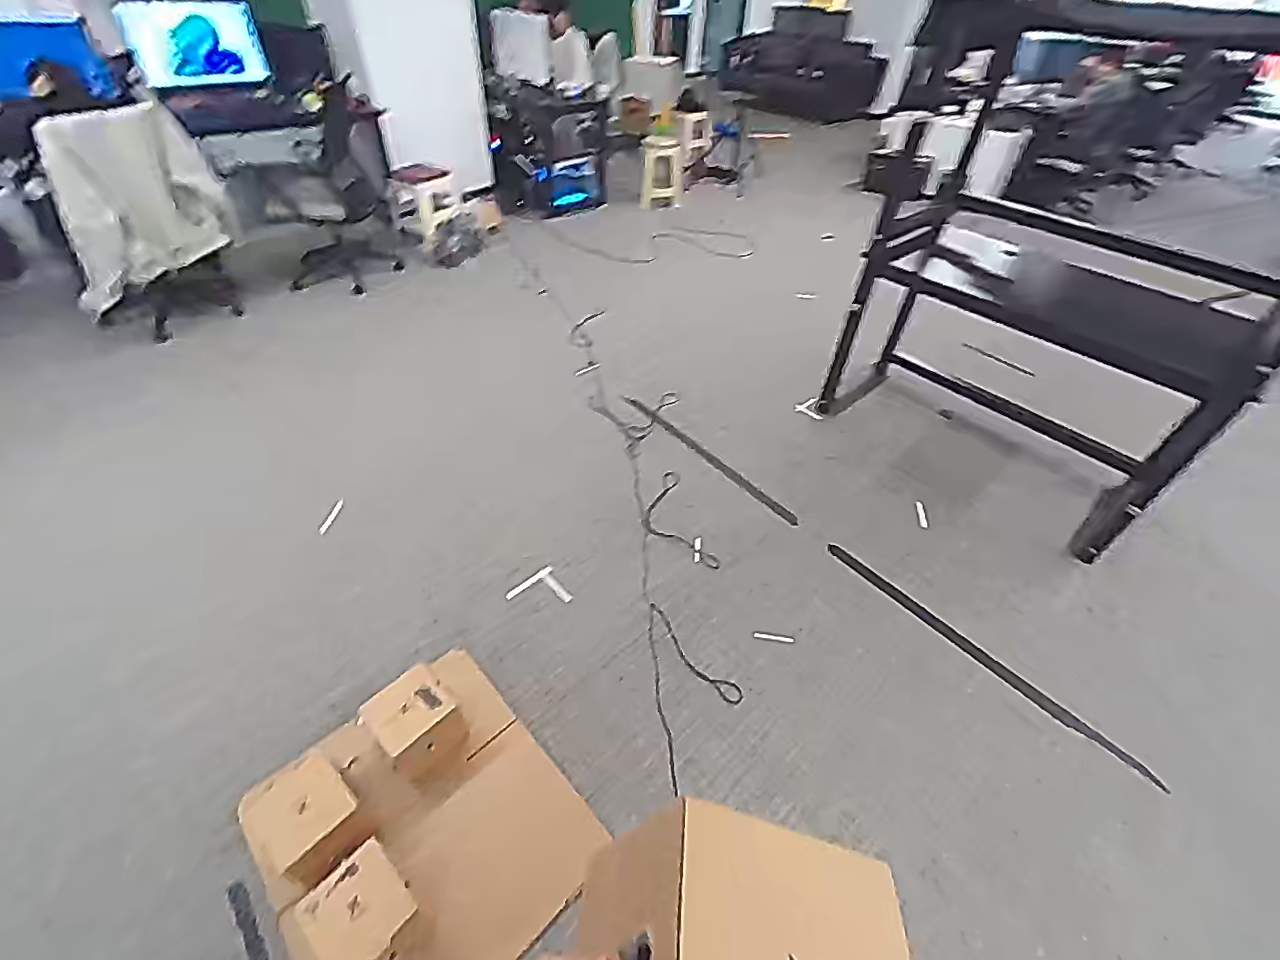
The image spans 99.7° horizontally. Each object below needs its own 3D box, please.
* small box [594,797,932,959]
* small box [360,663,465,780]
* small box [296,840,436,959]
[{"bbox_3d":[0.067,0.341,0.338,0.168,0.176,0.179,25,38,-9],"label":"small box"},{"bbox_3d":[-0.556,0.603,1.351,0.168,0.176,0.179,34,52,28],"label":"small box"},{"bbox_3d":[-0.533,0.868,1.074,0.179,0.176,0.168,34,51,26],"label":"small box"}]
